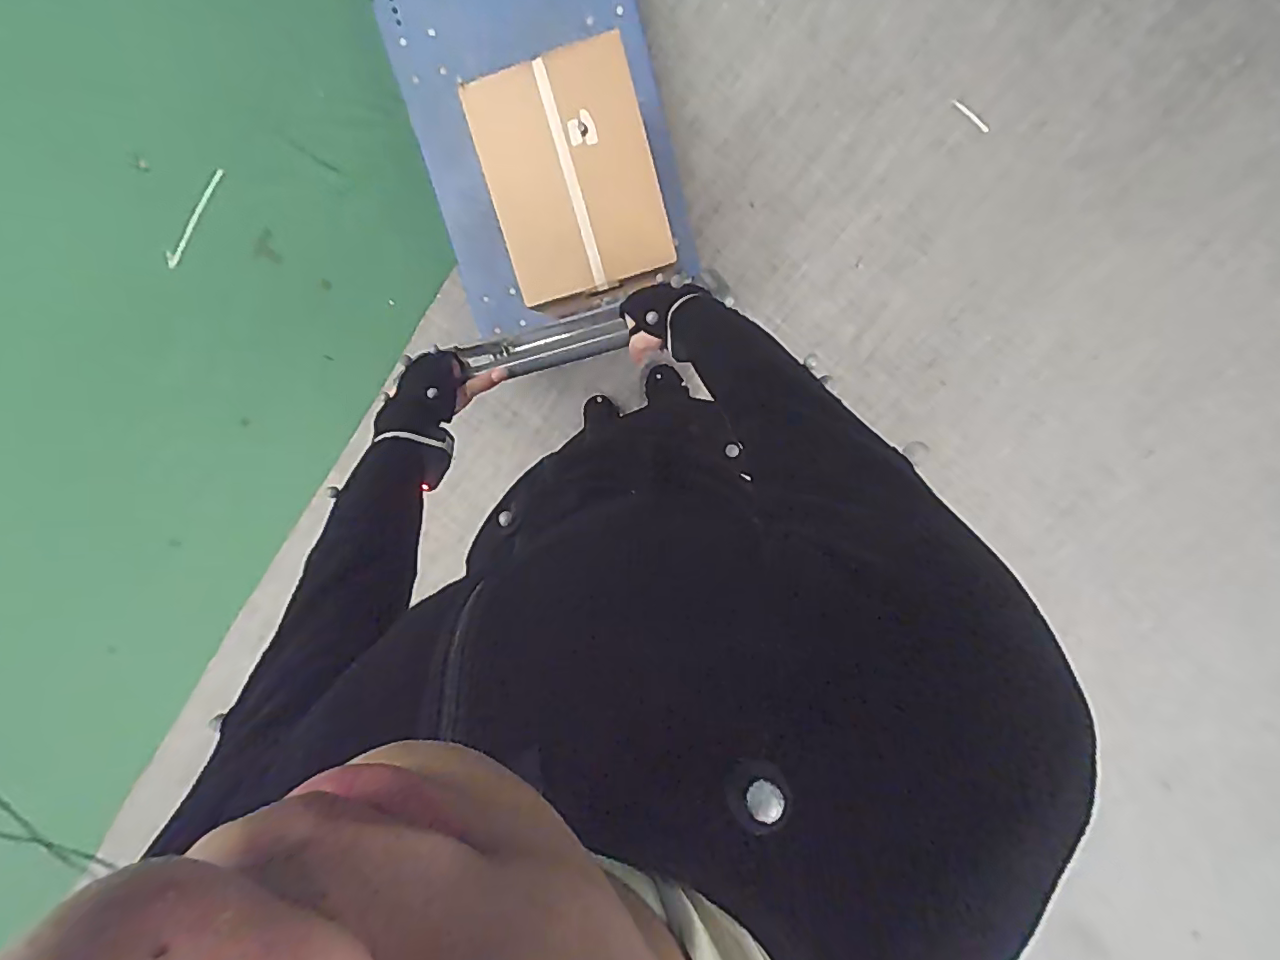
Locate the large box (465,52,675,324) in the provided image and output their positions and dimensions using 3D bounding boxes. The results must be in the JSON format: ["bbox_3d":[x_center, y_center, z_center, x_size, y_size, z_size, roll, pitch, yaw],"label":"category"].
[{"bbox_3d":[-0.123,-0.592,1.187,0.320,0.320,0.408,-15,101,5],"label":"large box"}]
